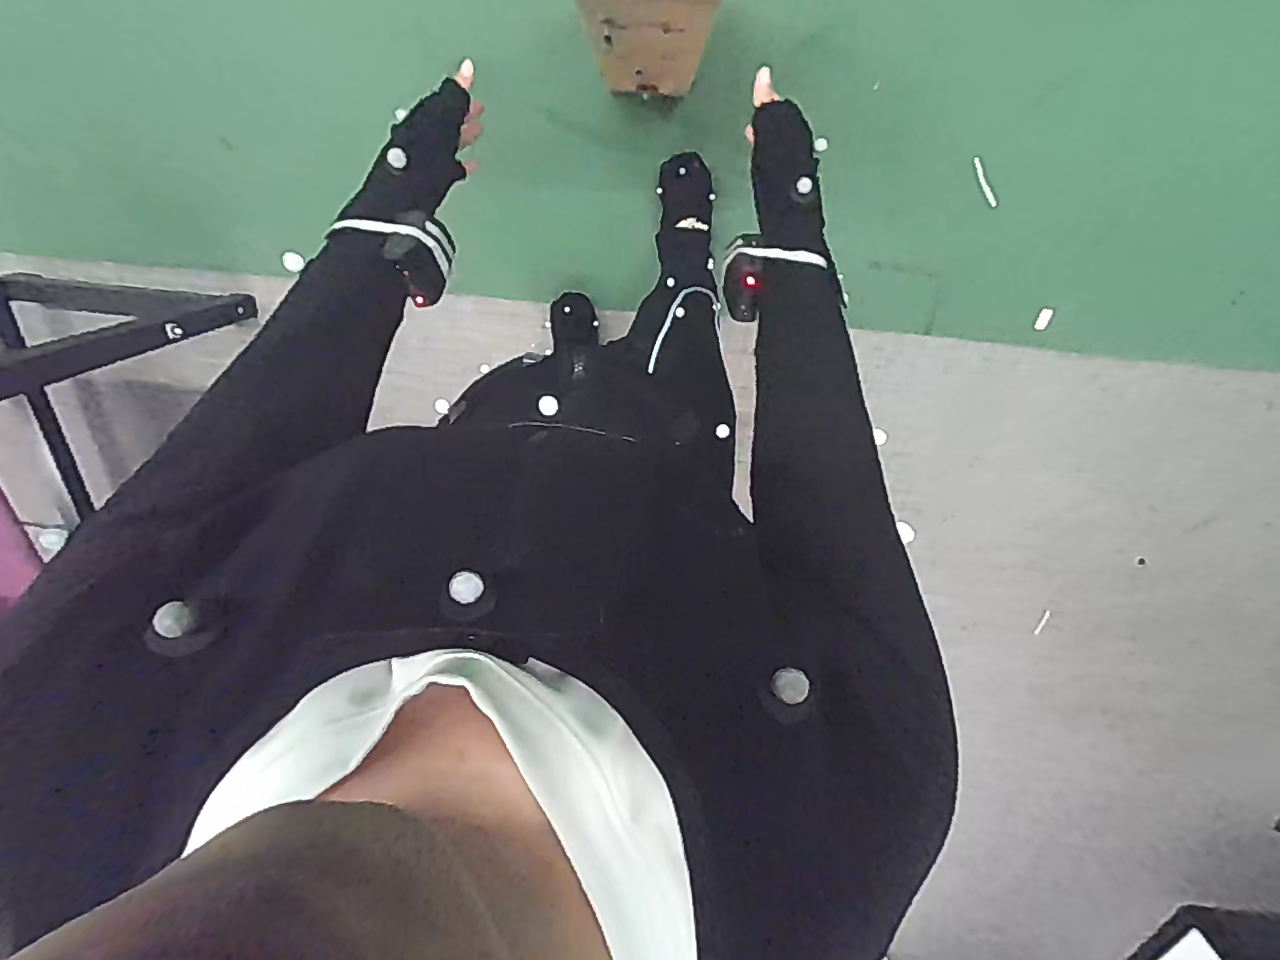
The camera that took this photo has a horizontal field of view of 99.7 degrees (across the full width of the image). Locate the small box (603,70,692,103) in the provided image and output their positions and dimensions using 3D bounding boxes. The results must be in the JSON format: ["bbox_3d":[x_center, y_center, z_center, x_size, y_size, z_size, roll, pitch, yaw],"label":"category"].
[{"bbox_3d":[0.021,-0.841,1.025,0.168,0.176,0.179,4,118,-1],"label":"small box"}]

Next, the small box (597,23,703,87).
[{"bbox_3d":[0.016,-0.767,0.881,0.168,0.176,0.179,2,118,0],"label":"small box"}]

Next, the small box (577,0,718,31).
[{"bbox_3d":[0.012,-0.618,0.588,0.168,0.176,0.179,1,117,0],"label":"small box"}]
